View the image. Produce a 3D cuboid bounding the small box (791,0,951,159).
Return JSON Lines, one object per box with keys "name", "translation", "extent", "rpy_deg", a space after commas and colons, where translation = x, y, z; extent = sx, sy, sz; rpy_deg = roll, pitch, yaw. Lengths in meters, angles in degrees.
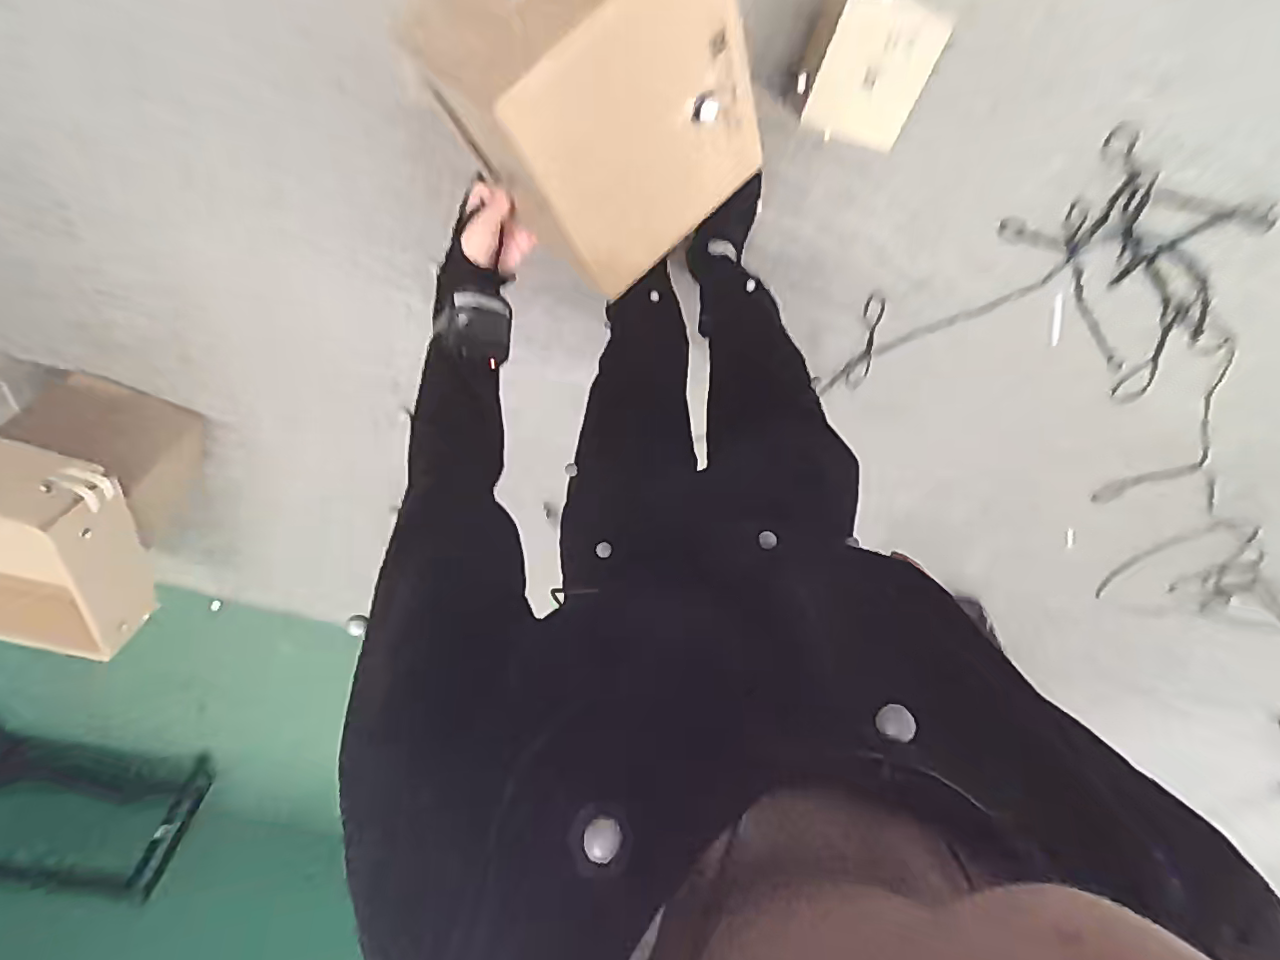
{"name": "small box", "translation": [0.365, -0.671, 0.899], "extent": [0.168, 0.176, 0.179], "rpy_deg": [14, 131, -8]}
